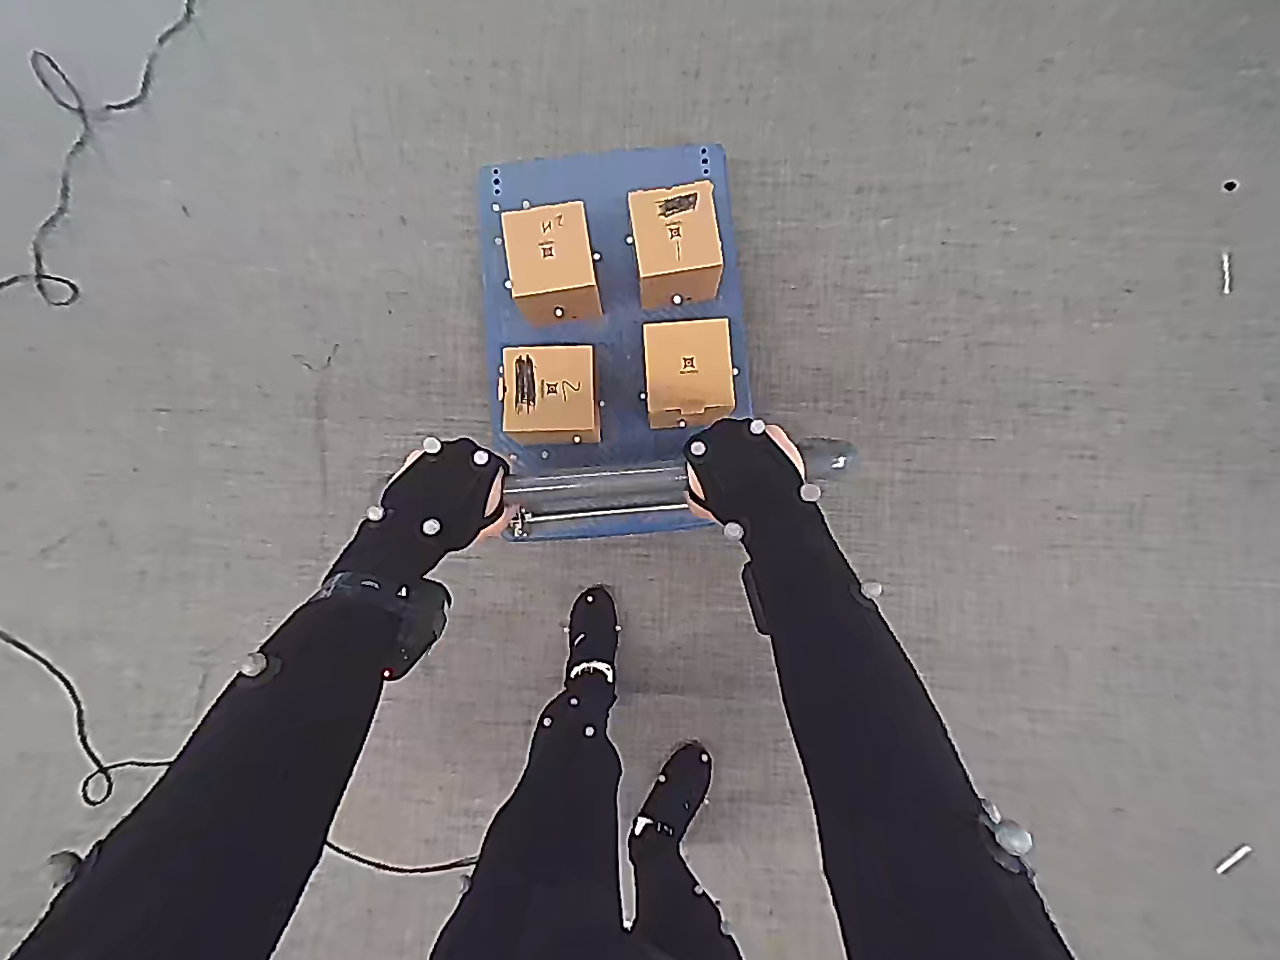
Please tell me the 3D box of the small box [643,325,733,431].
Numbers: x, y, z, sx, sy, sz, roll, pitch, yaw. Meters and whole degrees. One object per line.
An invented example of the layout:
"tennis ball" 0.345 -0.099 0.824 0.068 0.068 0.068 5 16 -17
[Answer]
"small box" 0.094 -0.208 1.134 0.168 0.176 0.179 -4 86 0

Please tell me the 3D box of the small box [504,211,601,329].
"small box" -0.179 -0.437 1.156 0.168 0.176 0.179 -9 85 0

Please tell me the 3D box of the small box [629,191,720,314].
"small box" 0.069 -0.477 1.154 0.168 0.176 0.179 -9 86 1
